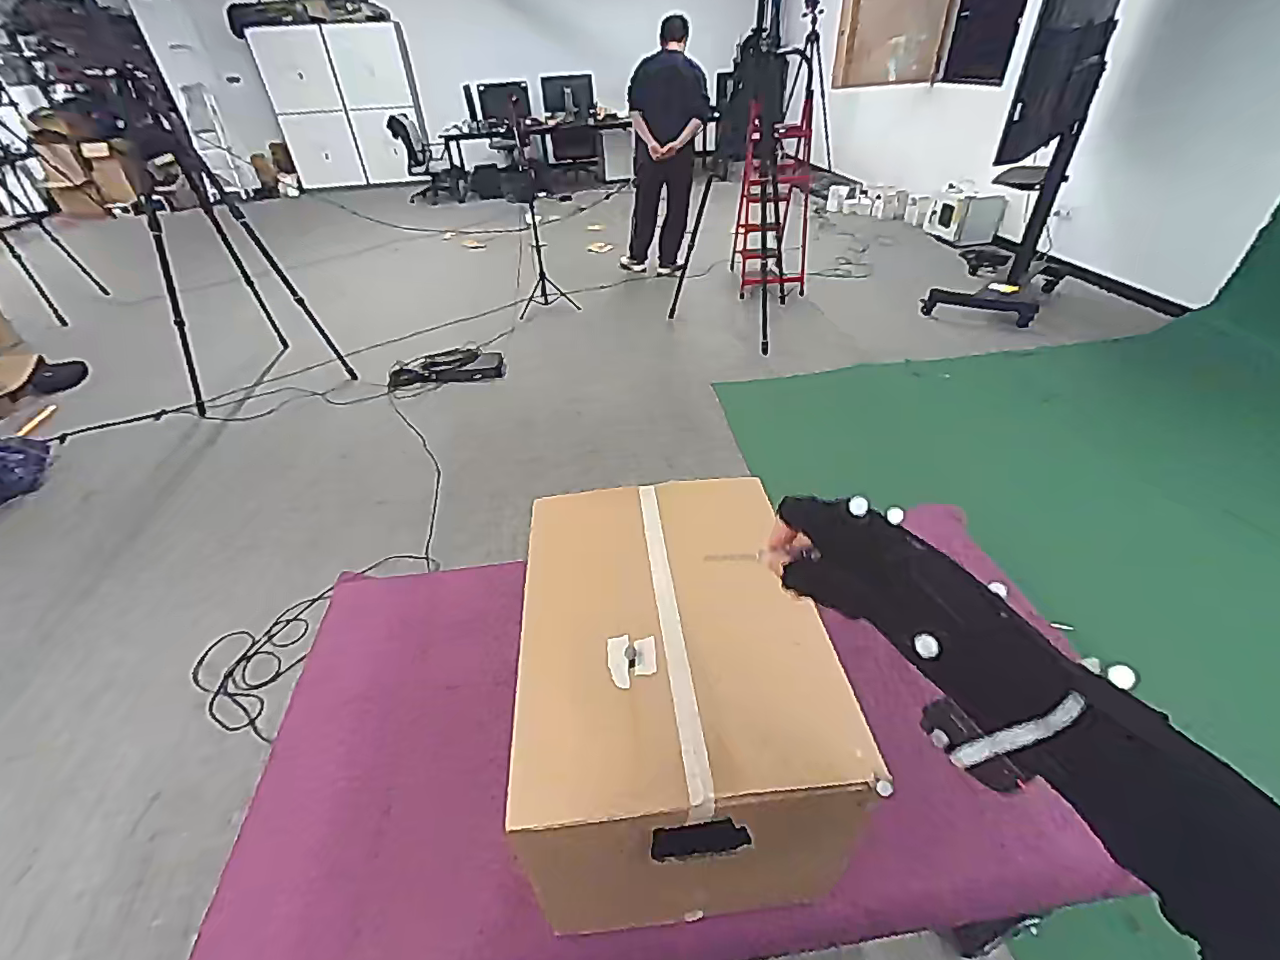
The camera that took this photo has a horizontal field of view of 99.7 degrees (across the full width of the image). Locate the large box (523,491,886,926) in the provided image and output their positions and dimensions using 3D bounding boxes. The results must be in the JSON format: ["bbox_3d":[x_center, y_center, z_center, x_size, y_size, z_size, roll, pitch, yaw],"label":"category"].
[{"bbox_3d":[0.039,0.263,0.690,0.320,0.320,0.408,-5,39,-3],"label":"large box"}]
